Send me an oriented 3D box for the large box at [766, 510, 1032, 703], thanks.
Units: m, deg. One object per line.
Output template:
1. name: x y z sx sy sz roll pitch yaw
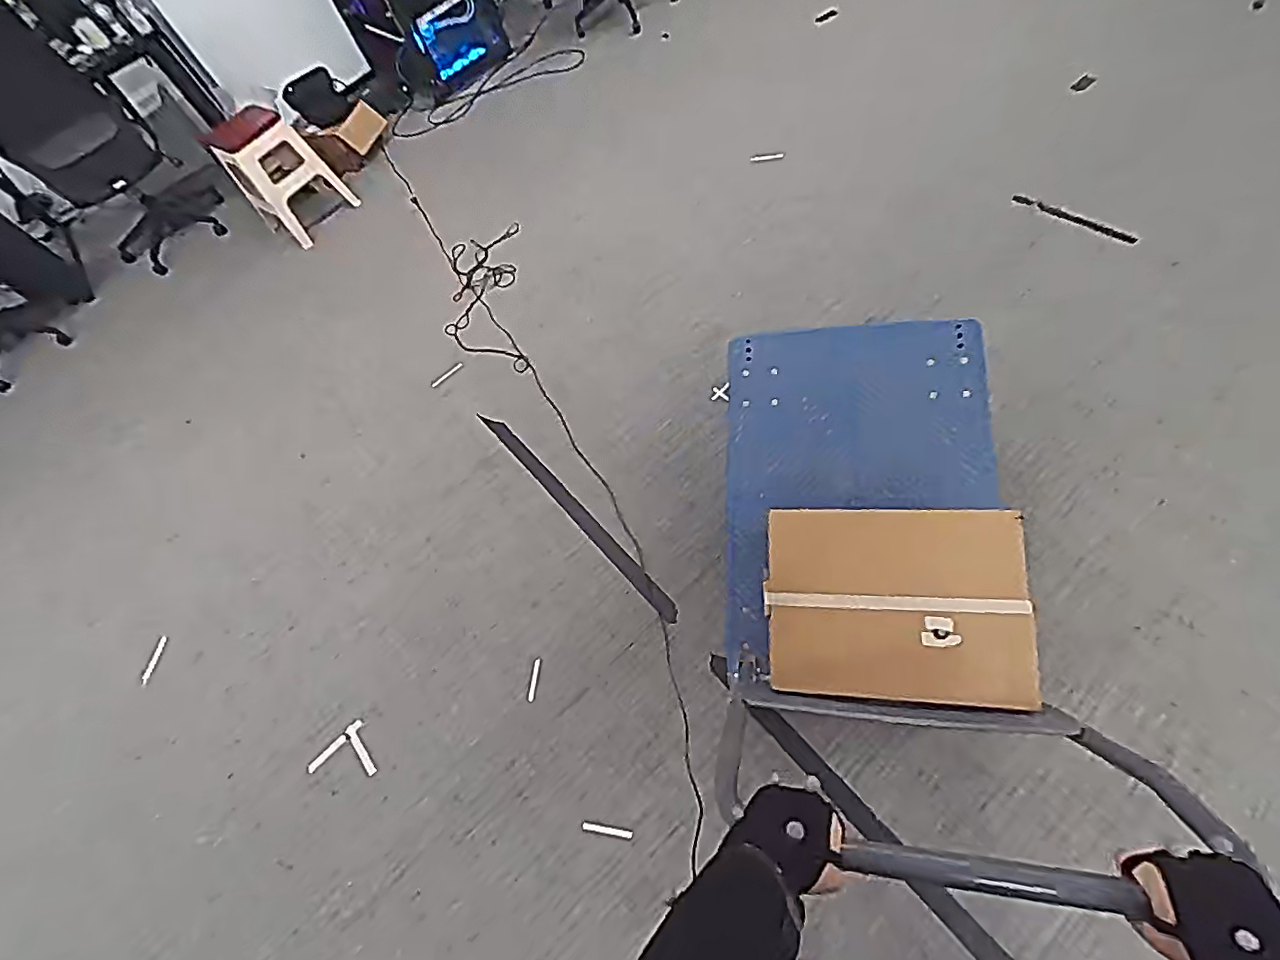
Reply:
1. large box: 0.459 0.236 1.062 0.408 0.320 0.320 -1 79 13
